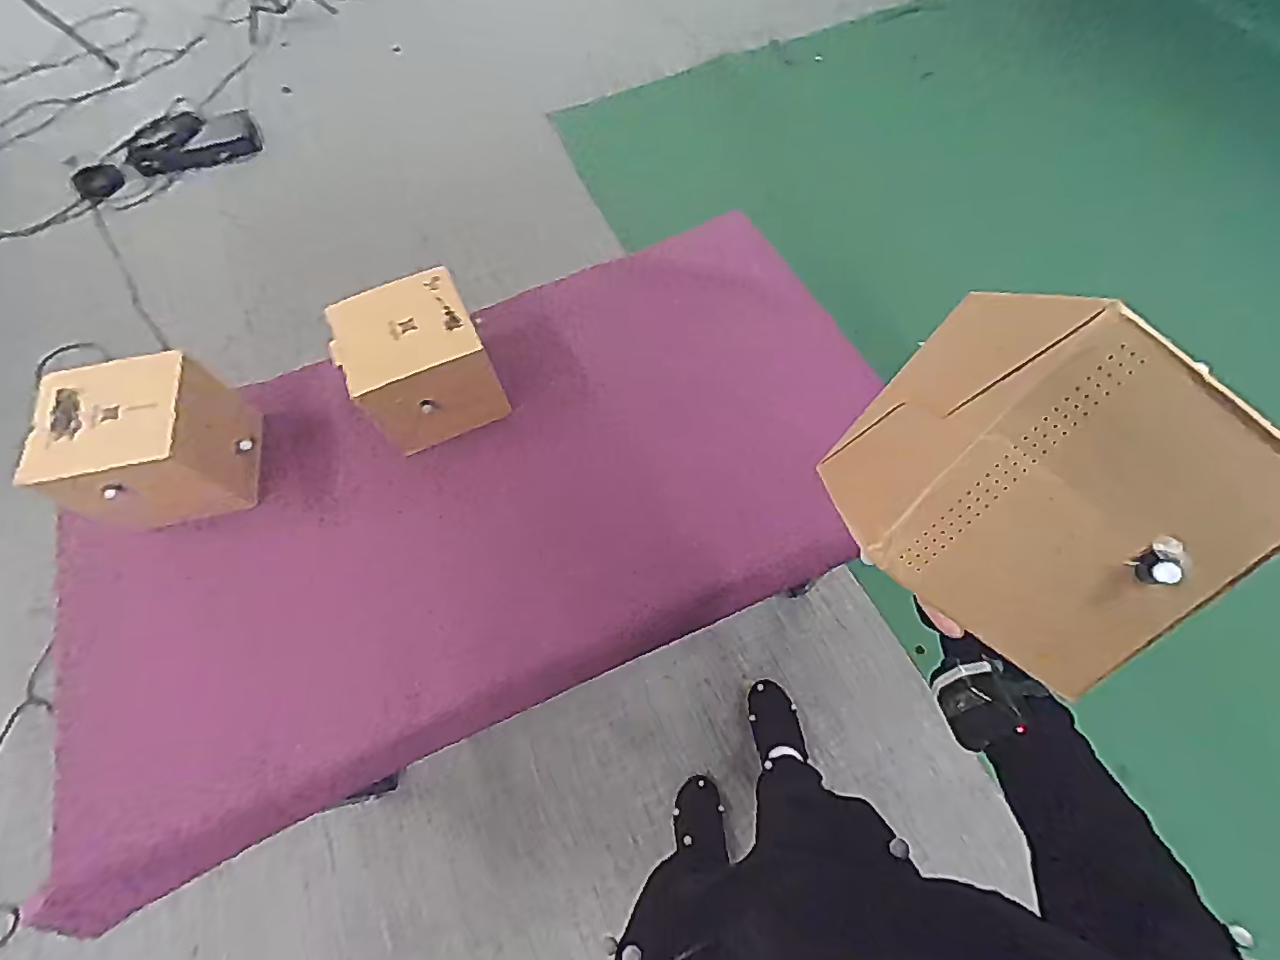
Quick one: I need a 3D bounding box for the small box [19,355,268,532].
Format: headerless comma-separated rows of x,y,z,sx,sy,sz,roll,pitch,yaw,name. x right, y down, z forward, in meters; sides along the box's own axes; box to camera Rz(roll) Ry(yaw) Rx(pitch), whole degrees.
-0.657,-0.041,0.742,0.179,0.176,0.168,-12,66,-5,small box

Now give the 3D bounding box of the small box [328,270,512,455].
-0.311,-0.163,0.792,0.179,0.176,0.168,-25,68,-9,small box

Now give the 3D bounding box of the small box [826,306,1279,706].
0.259,0.000,0.361,0.176,0.168,0.179,35,110,-4,small box
